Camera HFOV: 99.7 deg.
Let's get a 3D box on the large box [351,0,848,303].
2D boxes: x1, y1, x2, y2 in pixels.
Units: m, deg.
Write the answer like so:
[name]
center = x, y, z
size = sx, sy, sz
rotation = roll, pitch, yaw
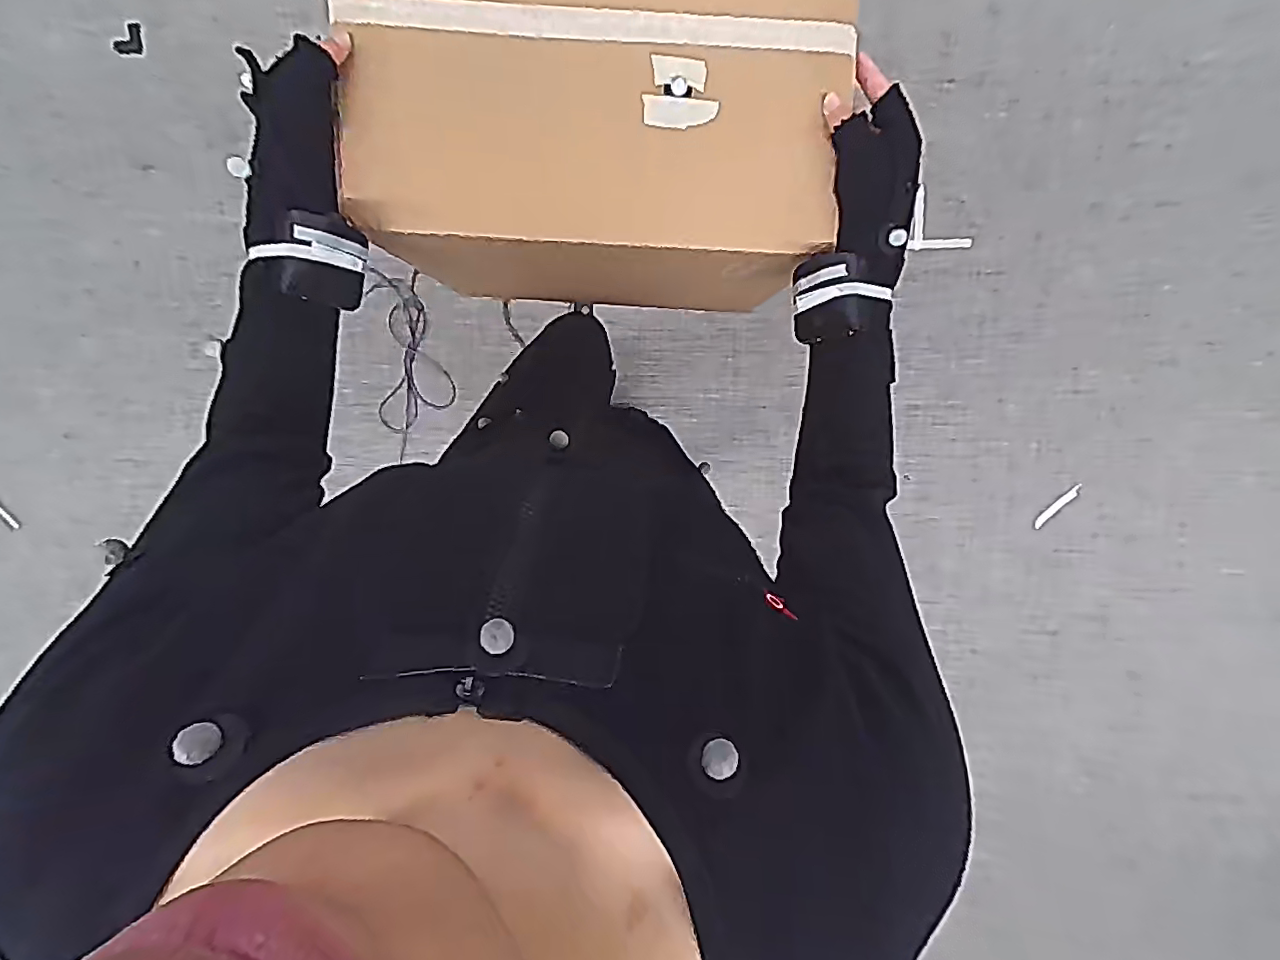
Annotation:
[large box]
center = -0.037, -0.379, 0.582
size = 0.408, 0.320, 0.320
rotation = 2, 100, -2
